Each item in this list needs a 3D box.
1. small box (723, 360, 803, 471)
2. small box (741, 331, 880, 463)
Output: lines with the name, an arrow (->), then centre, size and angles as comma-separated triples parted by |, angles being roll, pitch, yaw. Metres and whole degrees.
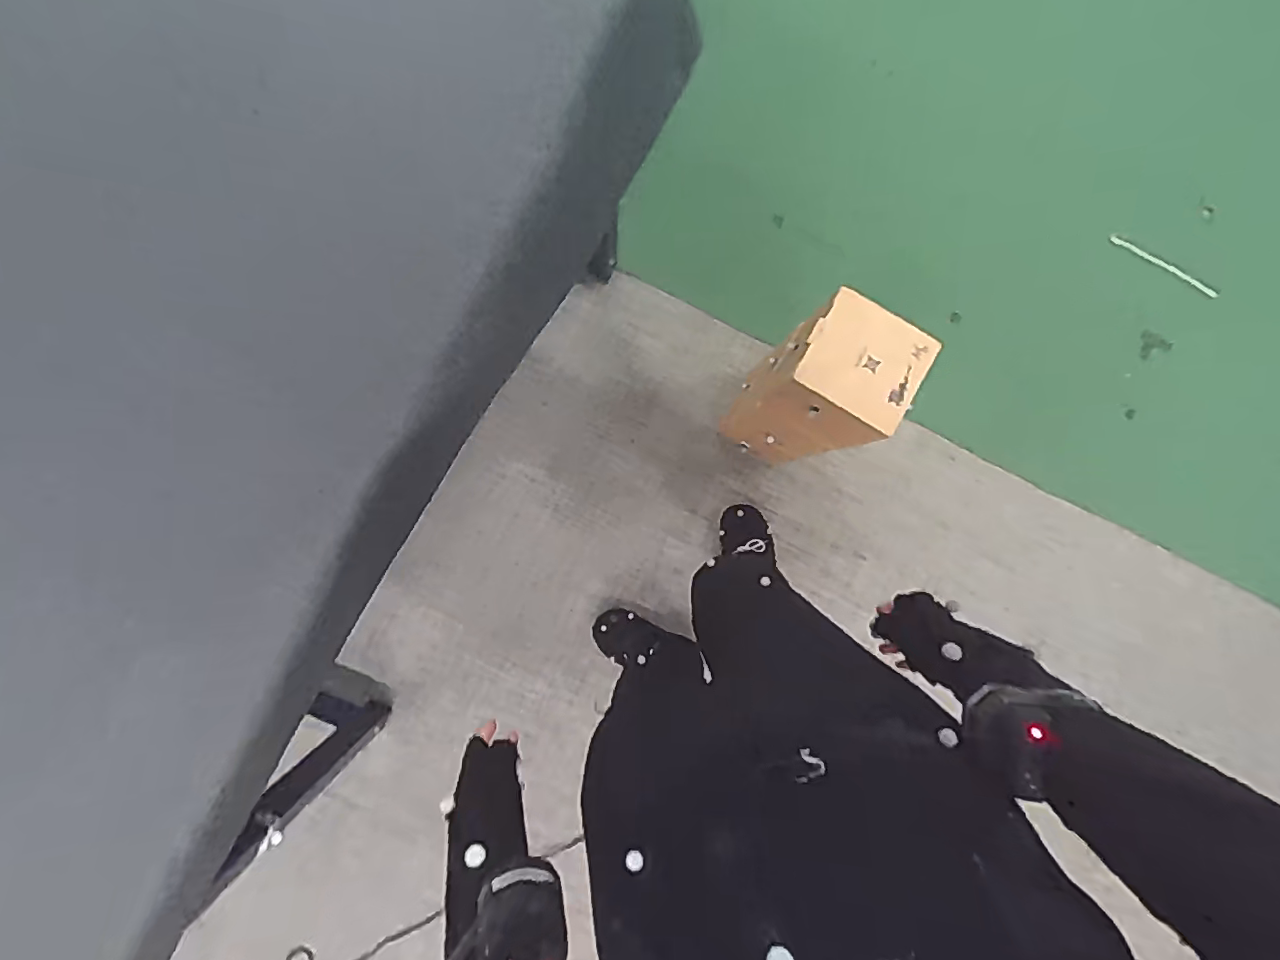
small box -> 0.303, -0.136, 1.205 | 0.168, 0.176, 0.179 | 31, 87, 0
small box -> 0.316, -0.149, 1.041 | 0.168, 0.176, 0.179 | 31, 86, -1
